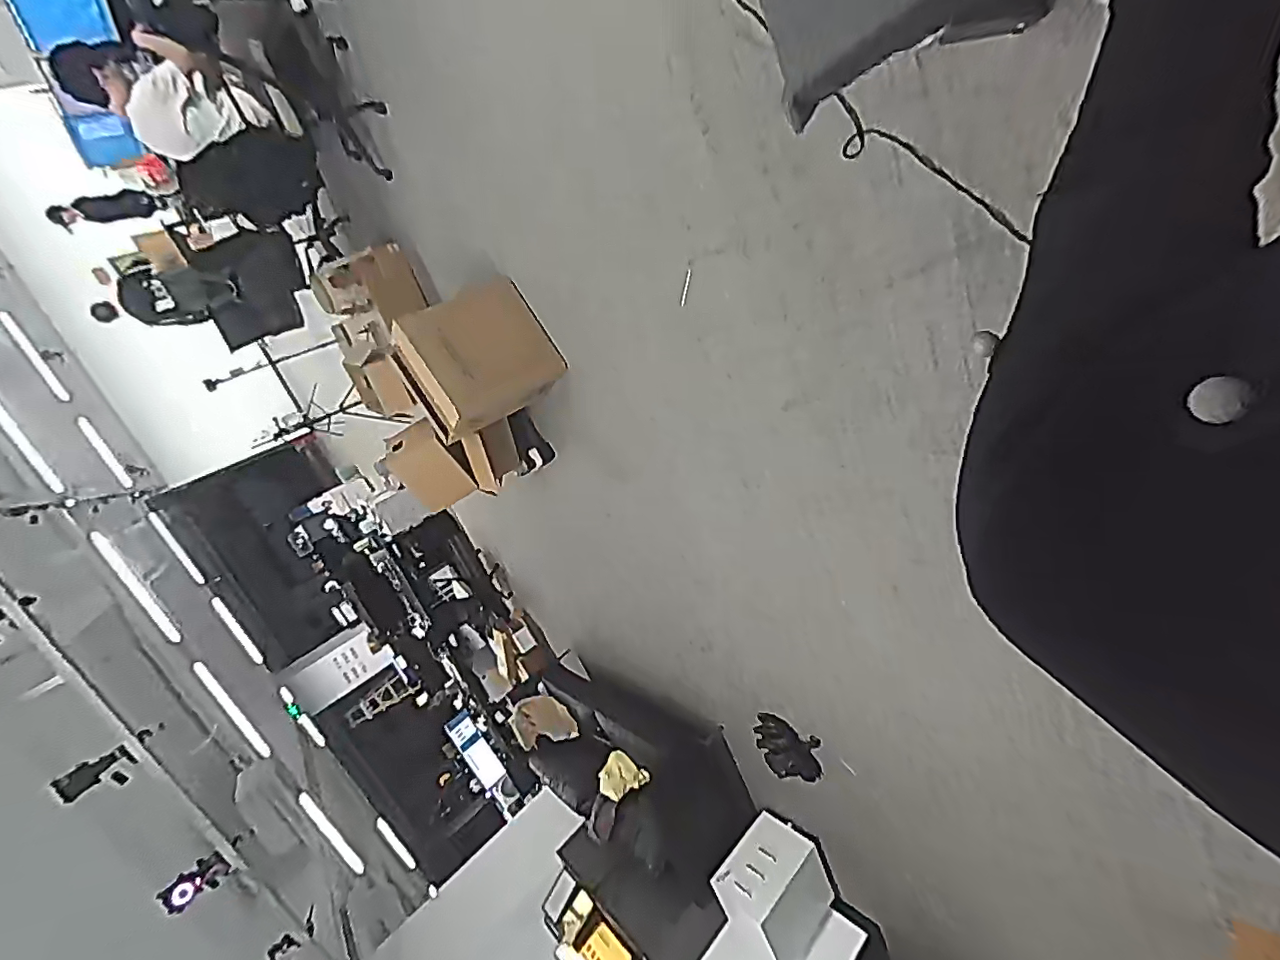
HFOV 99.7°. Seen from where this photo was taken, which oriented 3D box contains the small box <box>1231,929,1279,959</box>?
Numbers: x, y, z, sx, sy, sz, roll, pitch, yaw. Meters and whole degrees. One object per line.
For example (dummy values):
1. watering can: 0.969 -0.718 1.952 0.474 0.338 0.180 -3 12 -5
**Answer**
1. small box: 1.761 1.394 1.484 0.179 0.176 0.168 -2 117 53
